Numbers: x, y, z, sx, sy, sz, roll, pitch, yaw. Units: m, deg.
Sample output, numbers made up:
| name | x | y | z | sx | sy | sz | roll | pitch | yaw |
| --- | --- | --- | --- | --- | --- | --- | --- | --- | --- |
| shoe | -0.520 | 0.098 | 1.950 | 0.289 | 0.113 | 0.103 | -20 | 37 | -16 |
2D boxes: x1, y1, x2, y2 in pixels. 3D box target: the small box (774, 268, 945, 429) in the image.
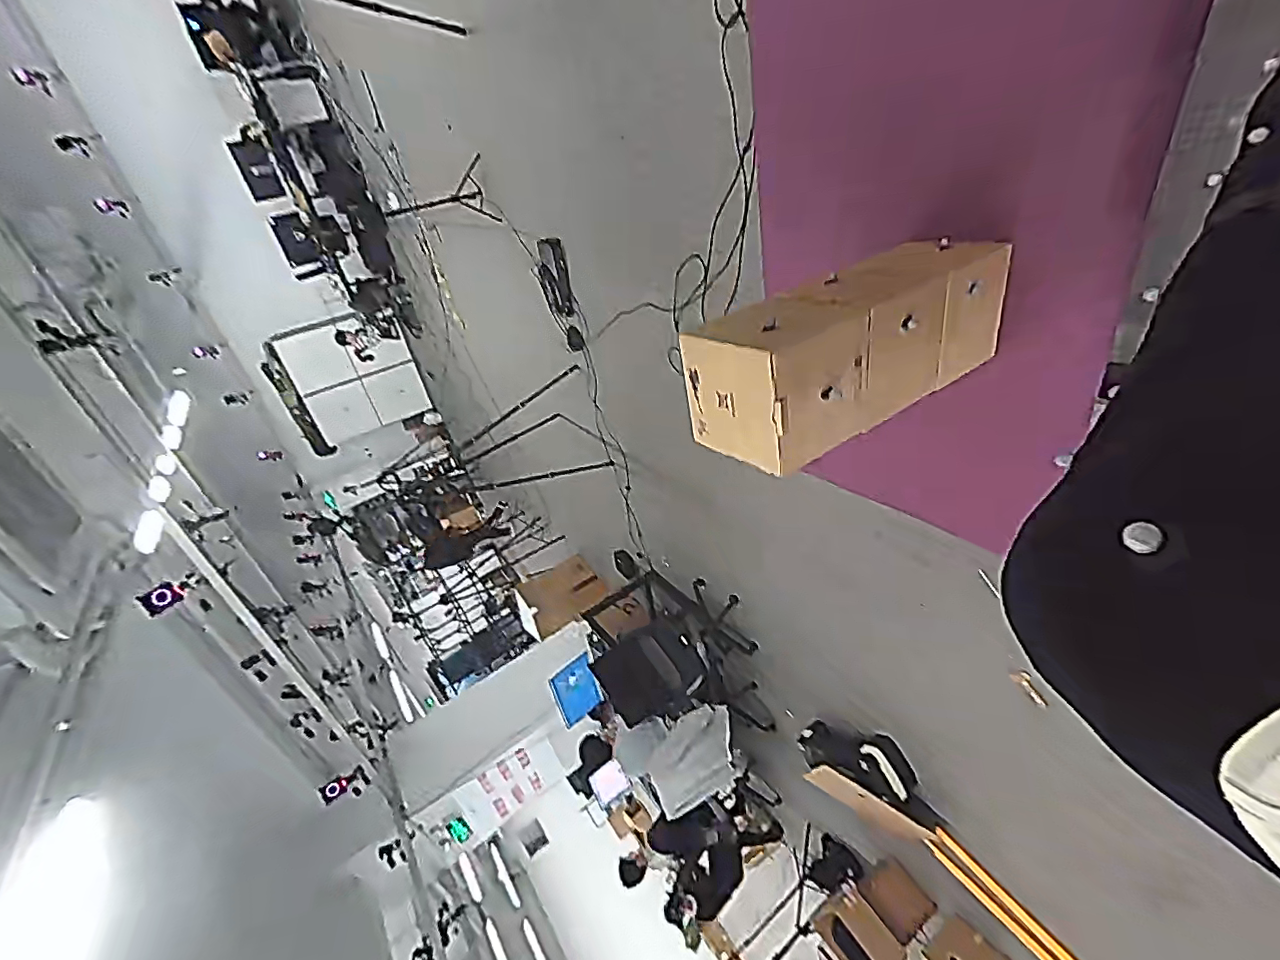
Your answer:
| name | x | y | z | sx | sy | sz | roll | pitch | yaw |
| --- | --- | --- | --- | --- | --- | --- | --- | --- | --- |
| small box | 0.320 | -0.204 | 0.797 | 0.168 | 0.176 | 0.179 | 32 | 142 | 49 |

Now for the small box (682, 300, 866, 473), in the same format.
| name | x | y | z | sx | sy | sz | roll | pitch | yaw |
| --- | --- | --- | --- | --- | --- | --- | --- | --- | --- |
| small box | 0.184 | -0.137 | 0.736 | 0.179 | 0.176 | 0.168 | 30 | 140 | 50 |
